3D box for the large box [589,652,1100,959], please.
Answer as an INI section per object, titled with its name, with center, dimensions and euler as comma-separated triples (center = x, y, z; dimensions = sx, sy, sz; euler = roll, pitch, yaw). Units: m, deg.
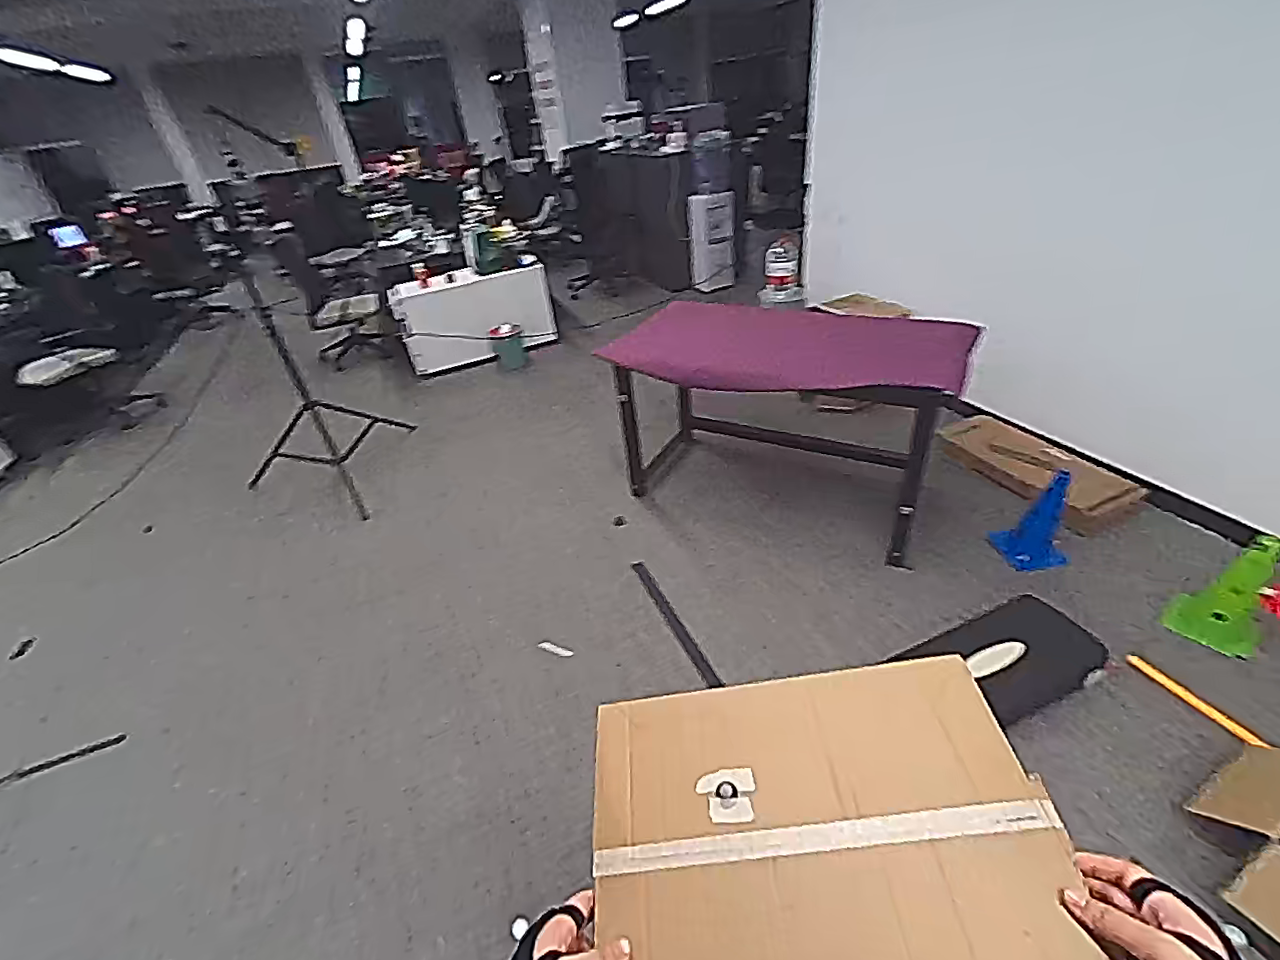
[large box]
center = 0.182, 0.439, 0.597
dimensions = 0.408, 0.320, 0.320
euler = -13, 40, 8
